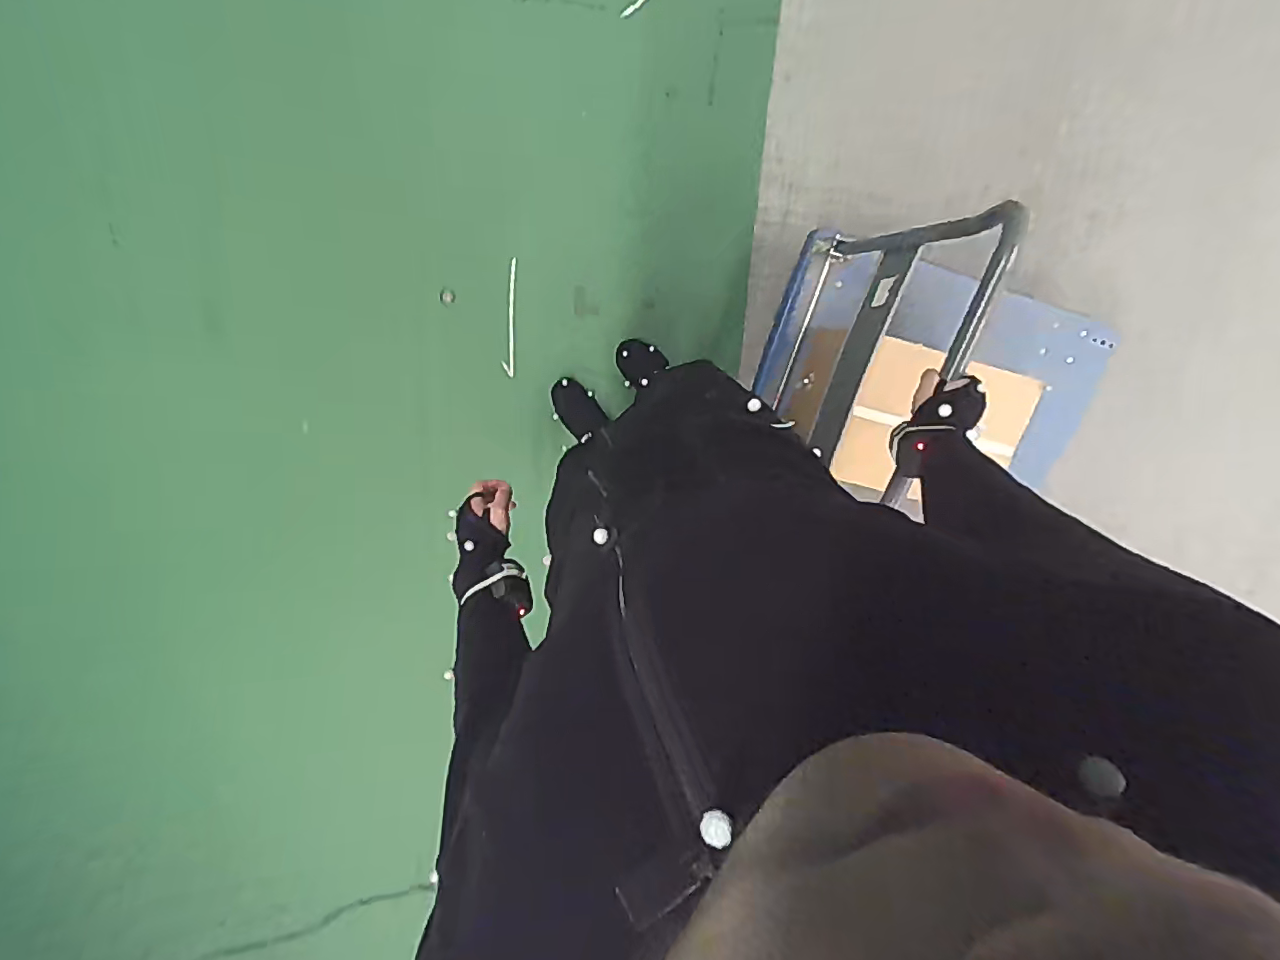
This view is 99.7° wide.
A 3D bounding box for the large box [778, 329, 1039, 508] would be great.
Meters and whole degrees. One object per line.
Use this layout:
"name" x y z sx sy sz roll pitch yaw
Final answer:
"large box" 0.597 -0.161 1.287 0.408 0.320 0.320 13 107 -7
